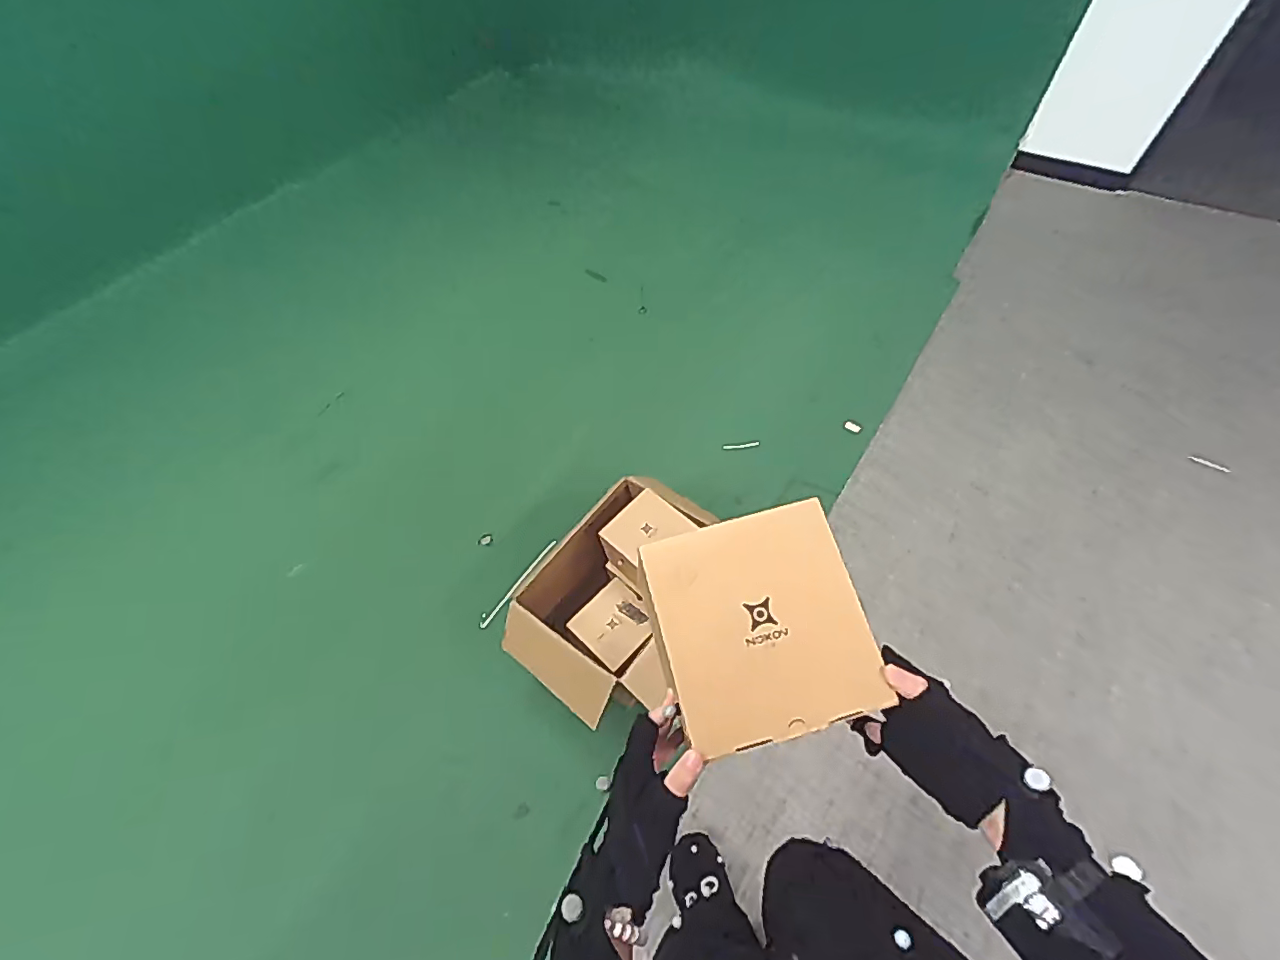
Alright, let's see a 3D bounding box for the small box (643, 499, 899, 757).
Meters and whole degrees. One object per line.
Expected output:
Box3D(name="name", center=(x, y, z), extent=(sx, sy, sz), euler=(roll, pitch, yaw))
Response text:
Box3D(name="small box", center=(0.101, 0.139, 0.514), extent=(0.168, 0.176, 0.179), euler=(-14, 71, -6))
